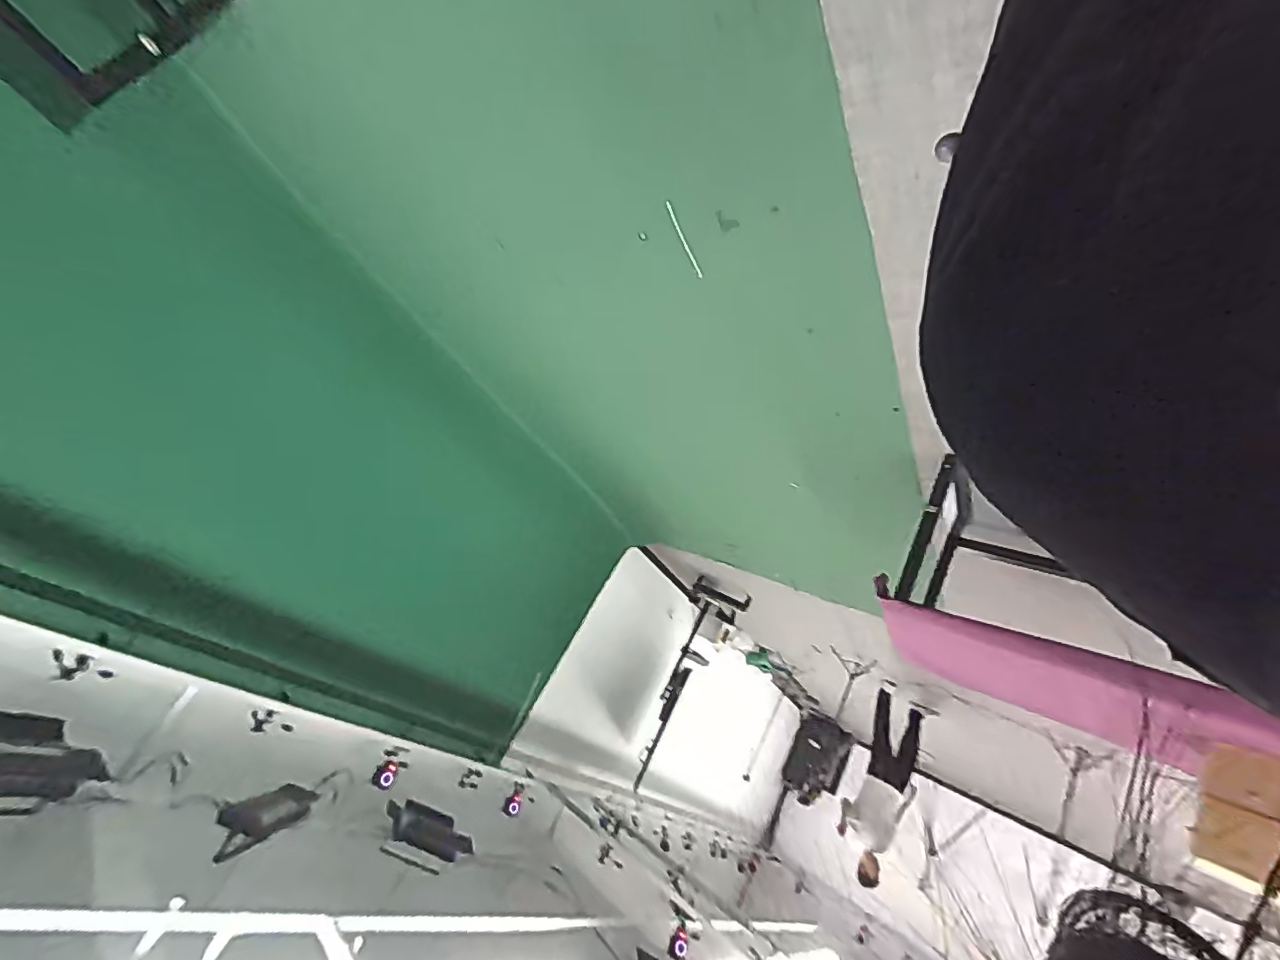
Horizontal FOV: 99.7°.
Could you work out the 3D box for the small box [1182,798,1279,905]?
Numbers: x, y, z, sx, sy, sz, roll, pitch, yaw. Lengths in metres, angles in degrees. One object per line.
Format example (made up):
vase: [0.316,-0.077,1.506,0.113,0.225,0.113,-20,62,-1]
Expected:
small box: [1.586,0.975,1.438,0.179,0.176,0.168,10,150,45]

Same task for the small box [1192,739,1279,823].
small box: [1.671,0.849,1.492,0.179,0.176,0.168,12,152,44]
